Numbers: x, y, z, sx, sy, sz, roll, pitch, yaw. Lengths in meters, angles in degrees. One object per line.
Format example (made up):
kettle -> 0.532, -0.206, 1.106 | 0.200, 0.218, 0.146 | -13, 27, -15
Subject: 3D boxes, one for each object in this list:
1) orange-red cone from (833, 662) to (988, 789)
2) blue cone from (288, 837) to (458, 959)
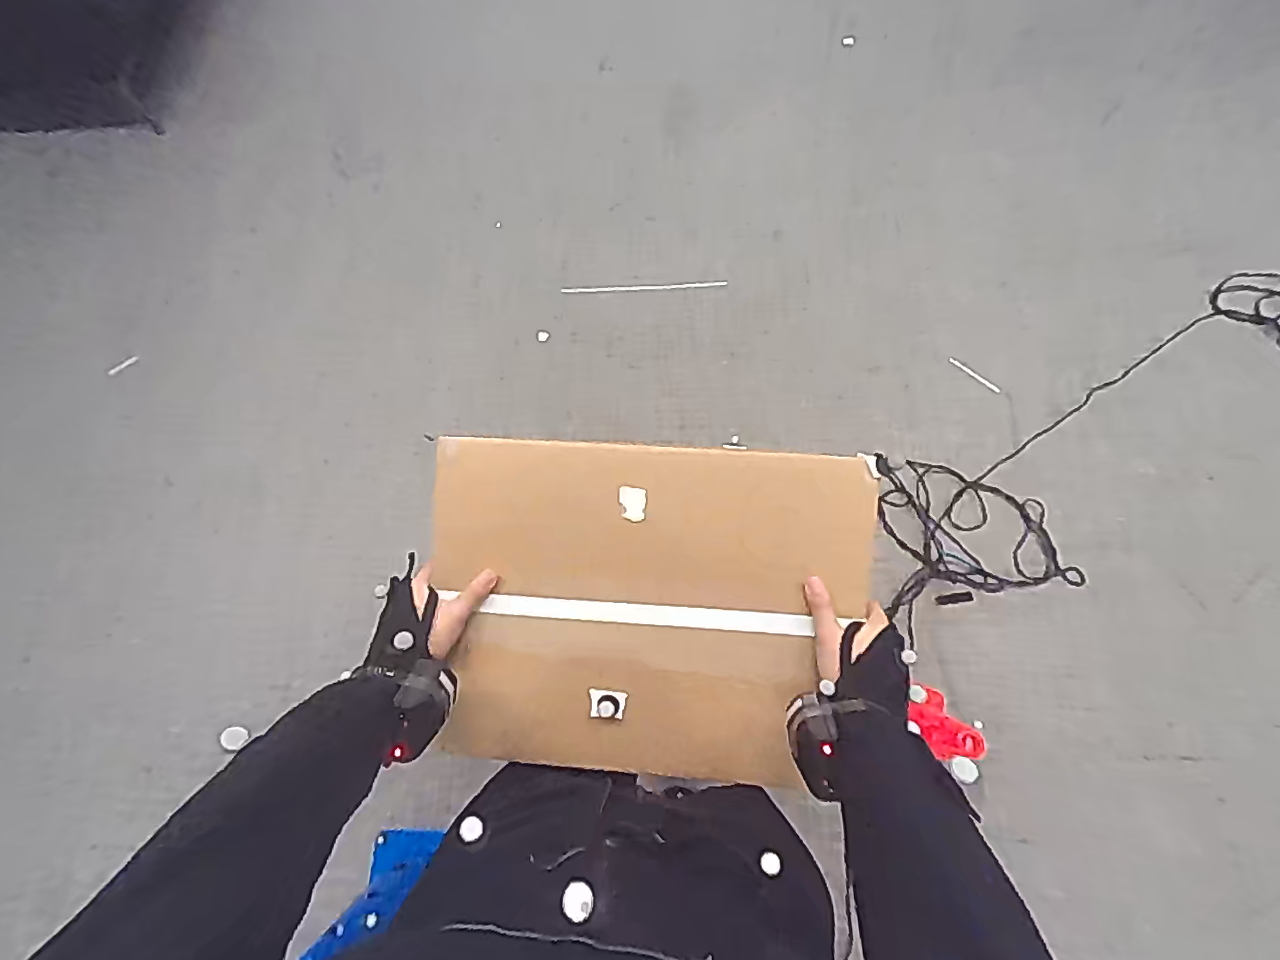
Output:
orange-red cone -> 0.499, 0.438, 0.942 | 0.199, 0.360, 0.198 | 19, 73, 11
blue cone -> -0.476, 0.764, 0.925 | 0.192, 0.380, 0.193 | 0, 69, 6
